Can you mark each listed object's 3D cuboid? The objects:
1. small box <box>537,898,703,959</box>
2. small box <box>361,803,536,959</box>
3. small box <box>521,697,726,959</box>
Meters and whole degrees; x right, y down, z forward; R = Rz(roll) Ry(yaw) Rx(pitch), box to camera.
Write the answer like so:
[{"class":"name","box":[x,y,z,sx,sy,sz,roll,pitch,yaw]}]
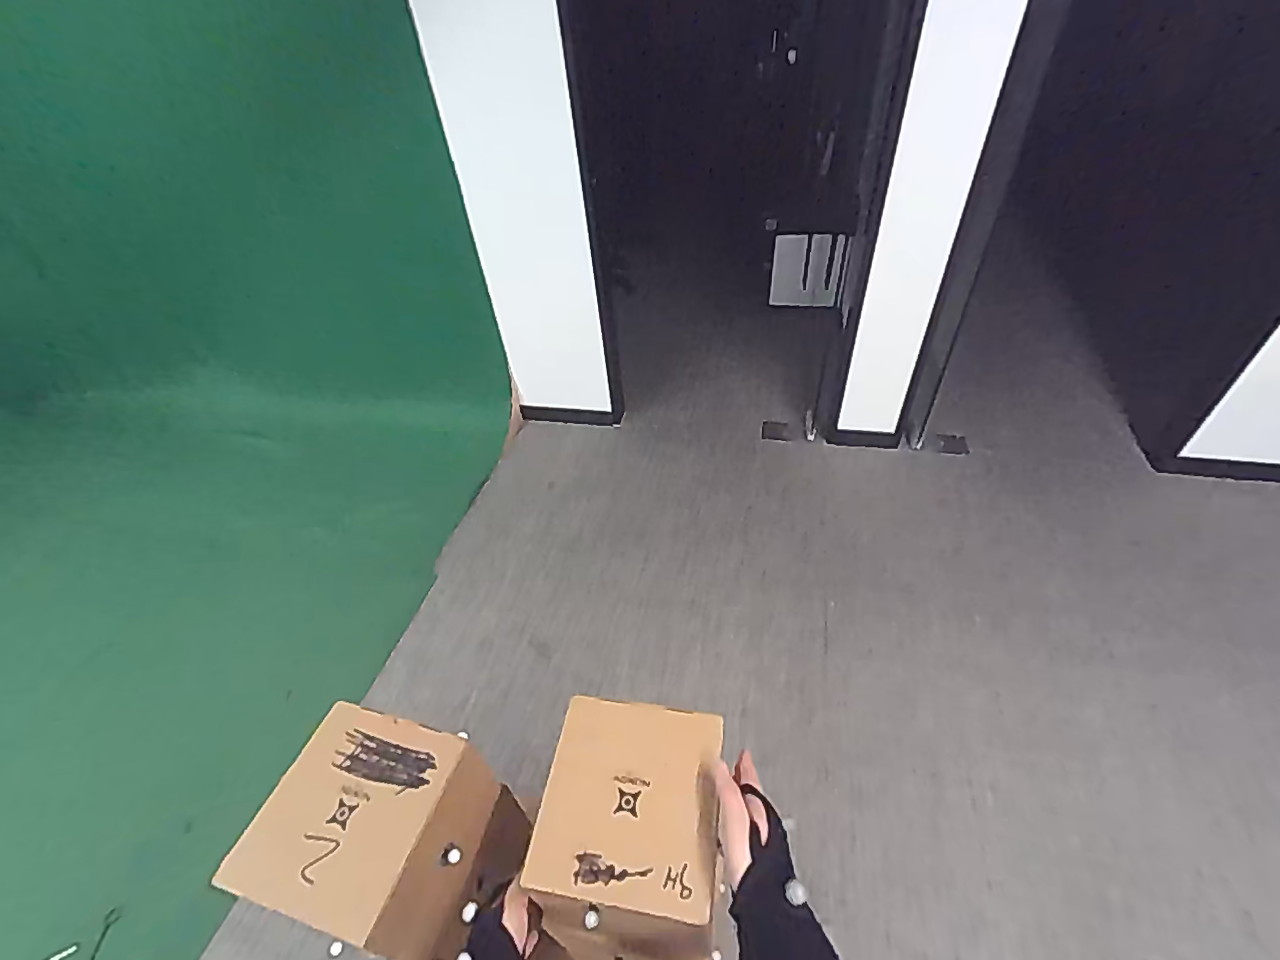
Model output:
[{"class":"small box","box":[0.000,0.487,0.666,0.179,0.176,0.168,5,43,14]},{"class":"small box","box":[-0.259,0.615,0.794,0.168,0.176,0.179,8,44,13]},{"class":"small box","box":[-0.002,0.359,0.564,0.168,0.176,0.179,4,43,12]}]
